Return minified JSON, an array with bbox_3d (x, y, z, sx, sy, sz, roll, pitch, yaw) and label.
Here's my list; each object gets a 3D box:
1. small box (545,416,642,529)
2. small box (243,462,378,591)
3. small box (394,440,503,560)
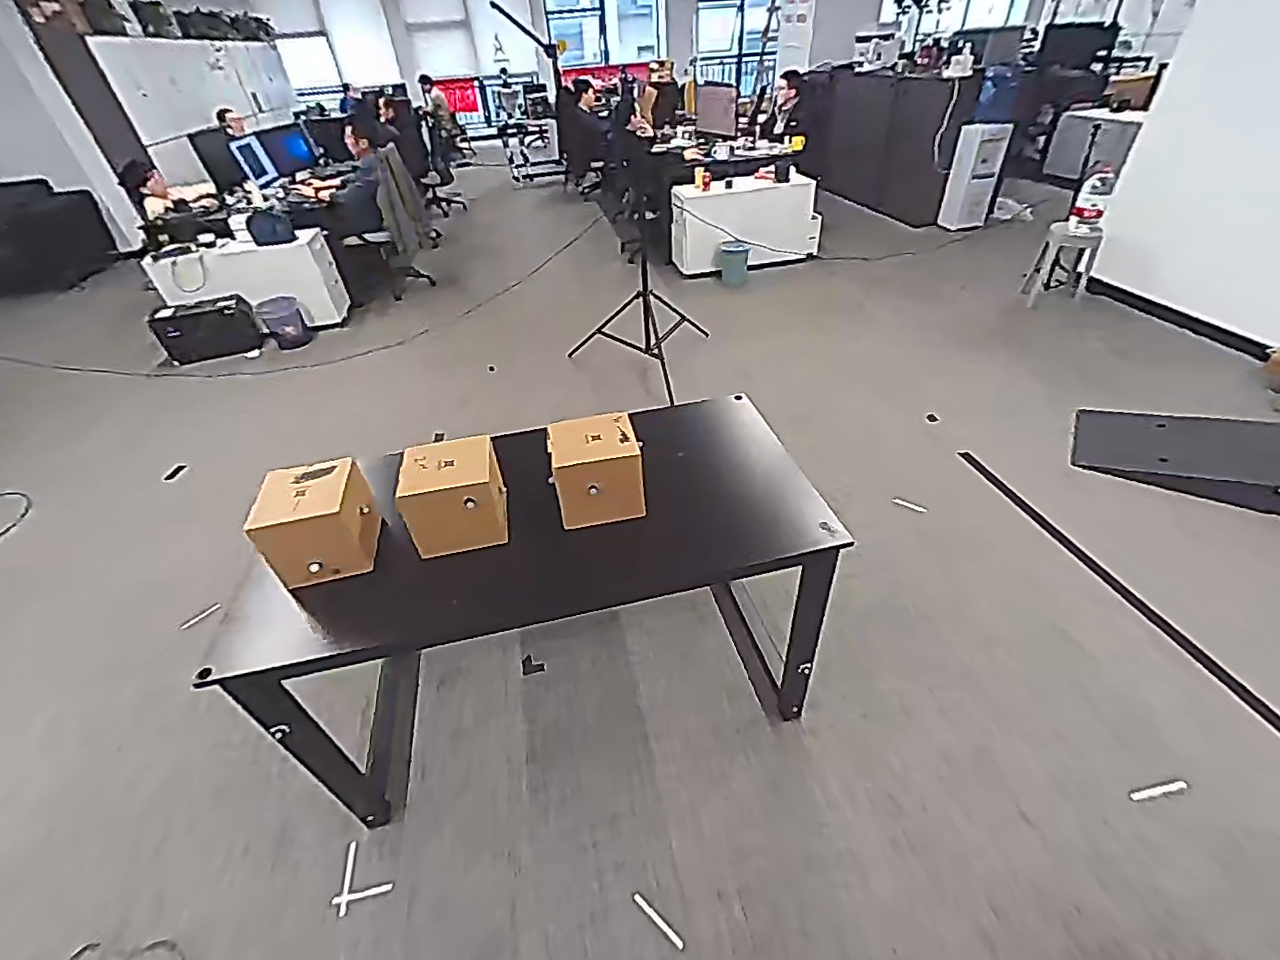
[{"bbox_3d":[-0.100,-0.013,1.164,0.179,0.176,0.168,-10,39,-5],"label":"small box"},{"bbox_3d":[-0.645,0.093,1.087,0.168,0.176,0.179,-12,40,-9],"label":"small box"},{"bbox_3d":[-0.386,0.041,1.124,0.179,0.176,0.168,-11,39,-8],"label":"small box"}]
